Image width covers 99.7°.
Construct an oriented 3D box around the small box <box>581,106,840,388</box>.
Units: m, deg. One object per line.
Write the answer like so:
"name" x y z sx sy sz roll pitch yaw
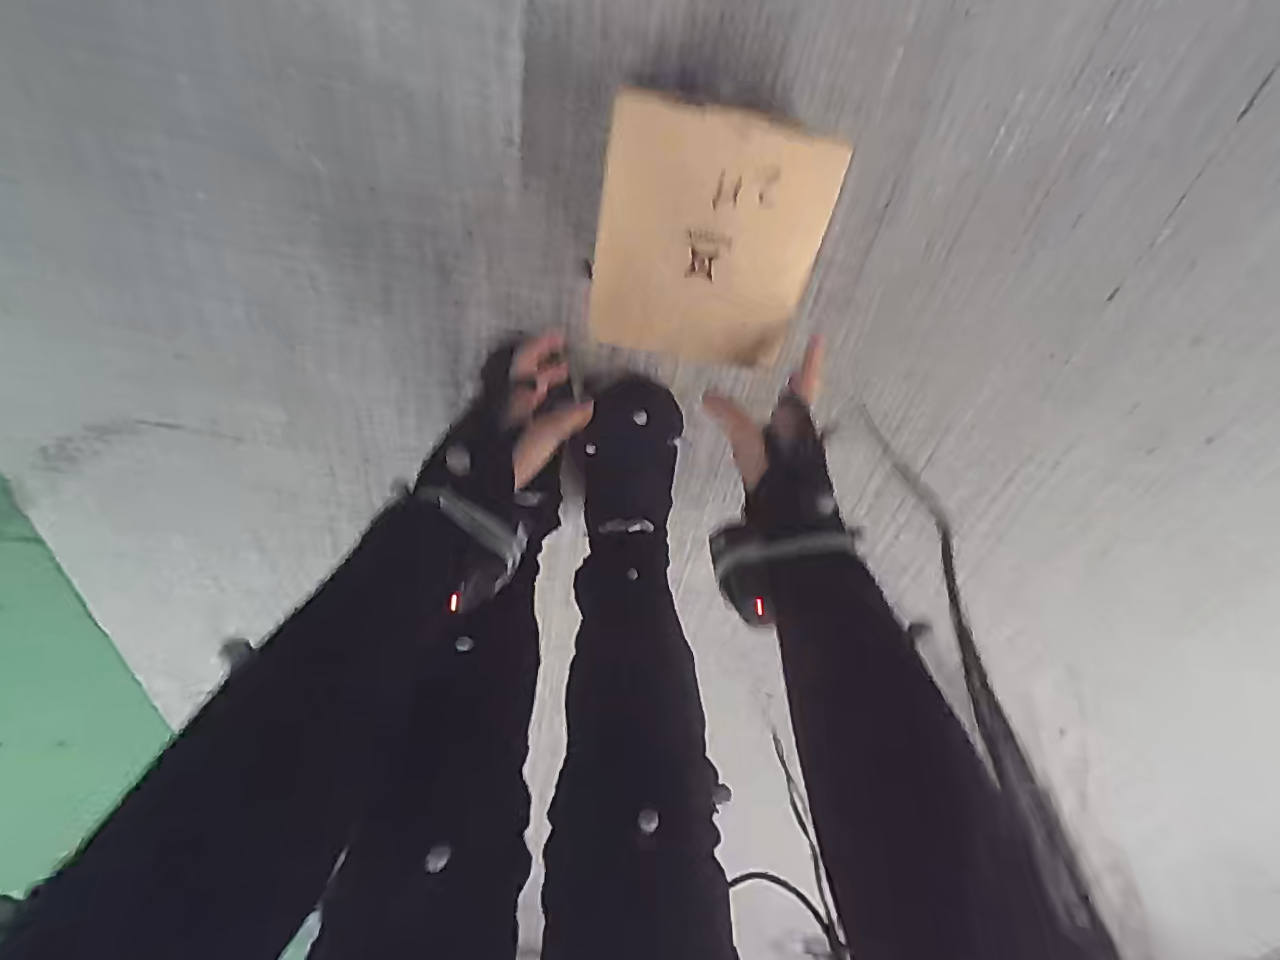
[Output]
"small box" 0.047 -0.209 0.482 0.168 0.176 0.179 9 127 -6
